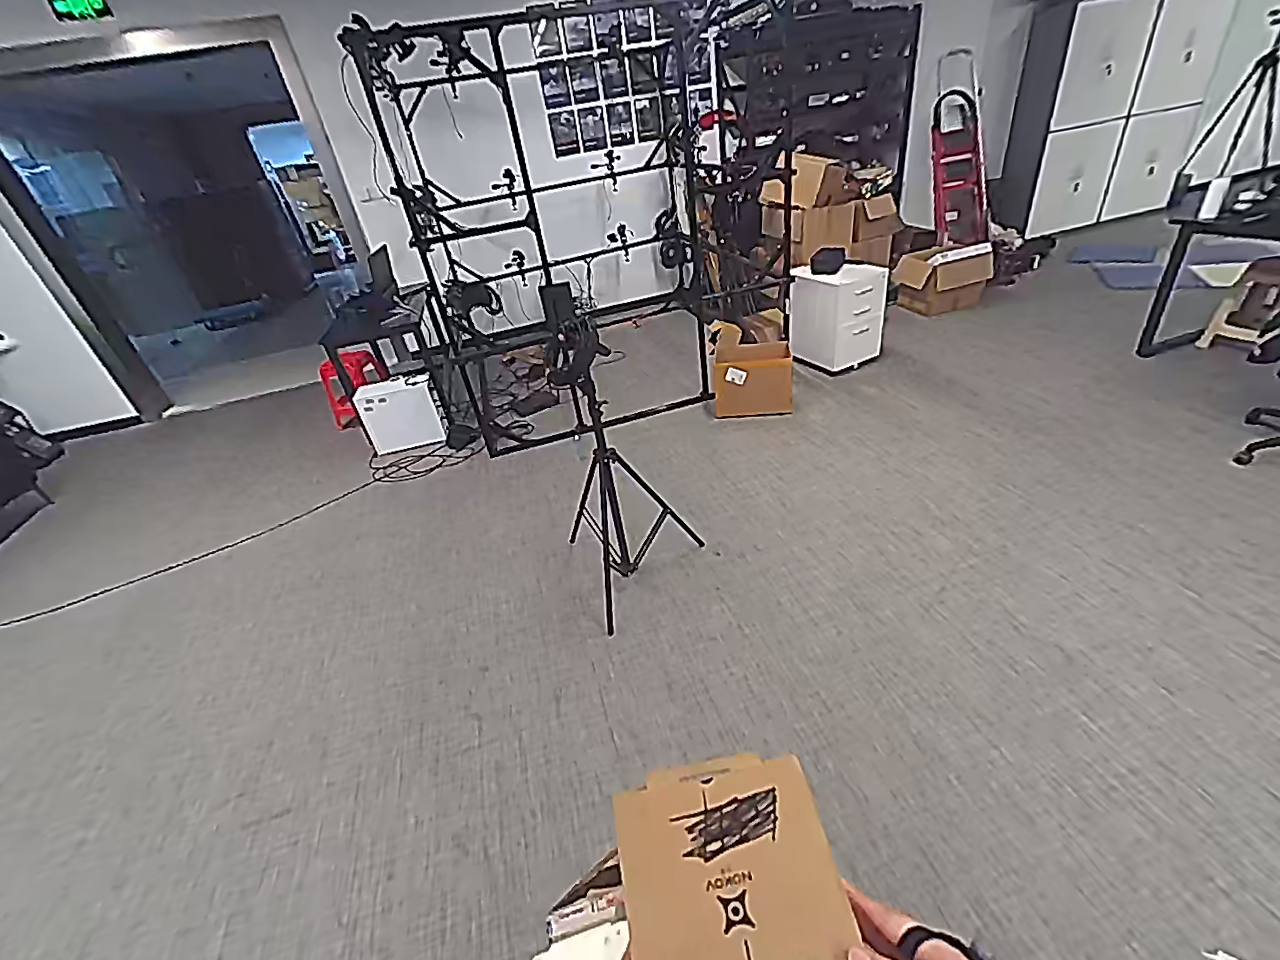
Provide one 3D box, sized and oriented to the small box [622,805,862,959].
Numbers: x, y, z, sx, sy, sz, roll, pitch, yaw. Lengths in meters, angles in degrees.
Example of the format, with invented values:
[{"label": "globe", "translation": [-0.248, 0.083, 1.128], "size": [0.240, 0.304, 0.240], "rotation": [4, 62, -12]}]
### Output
[{"label": "small box", "translation": [0.083, 0.403, 0.445], "size": [0.168, 0.176, 0.179], "rotation": [-11, 44, -3]}]
